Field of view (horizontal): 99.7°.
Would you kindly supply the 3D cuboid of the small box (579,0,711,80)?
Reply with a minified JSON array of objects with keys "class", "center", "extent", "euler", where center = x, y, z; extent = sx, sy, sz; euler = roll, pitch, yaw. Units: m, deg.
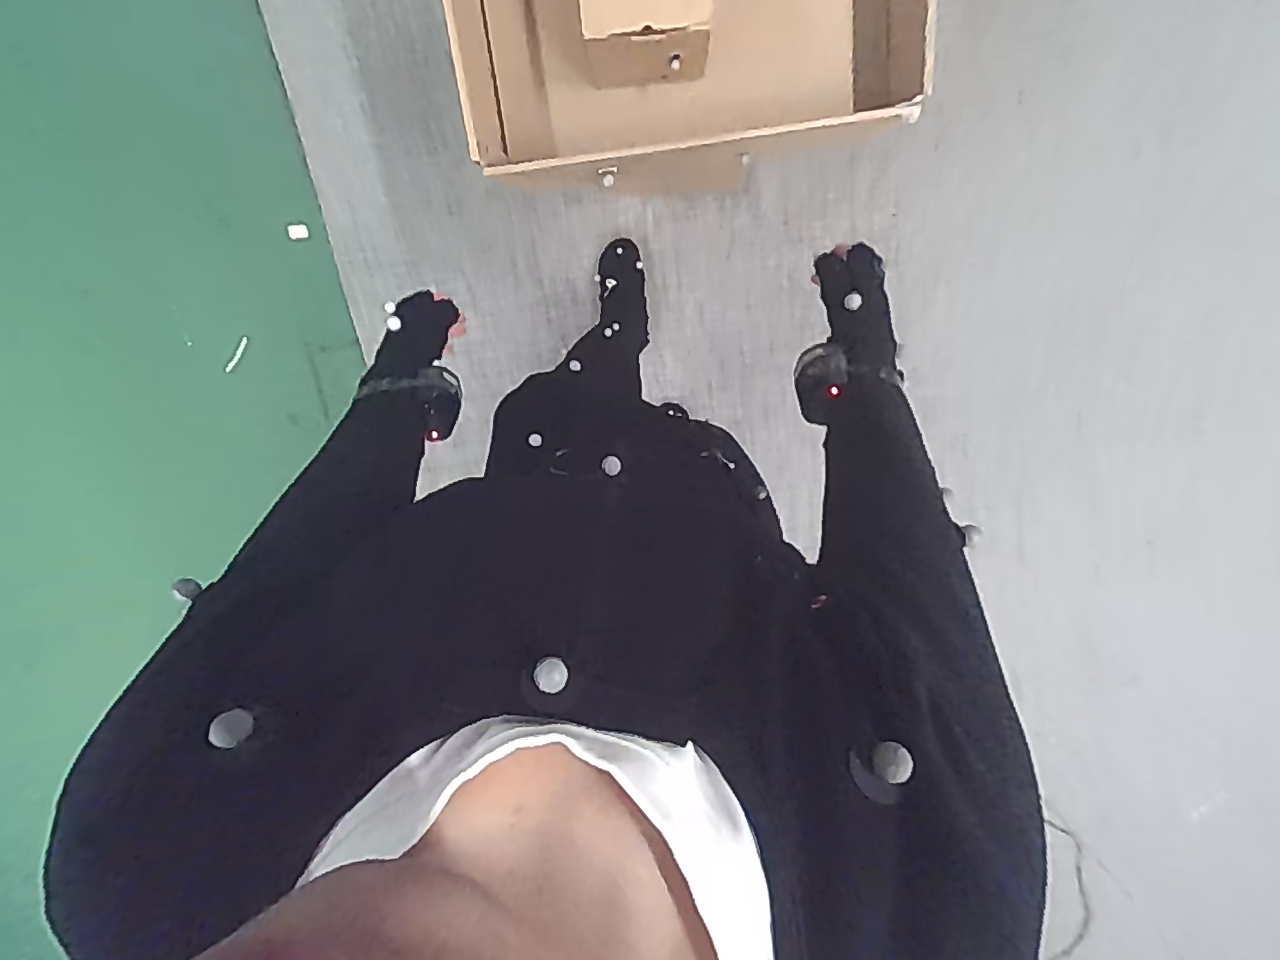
[{"class":"small box","center":[0.006,-0.665,0.722],"extent":[0.168,0.176,0.179],"euler":[-4,106,2]}]
